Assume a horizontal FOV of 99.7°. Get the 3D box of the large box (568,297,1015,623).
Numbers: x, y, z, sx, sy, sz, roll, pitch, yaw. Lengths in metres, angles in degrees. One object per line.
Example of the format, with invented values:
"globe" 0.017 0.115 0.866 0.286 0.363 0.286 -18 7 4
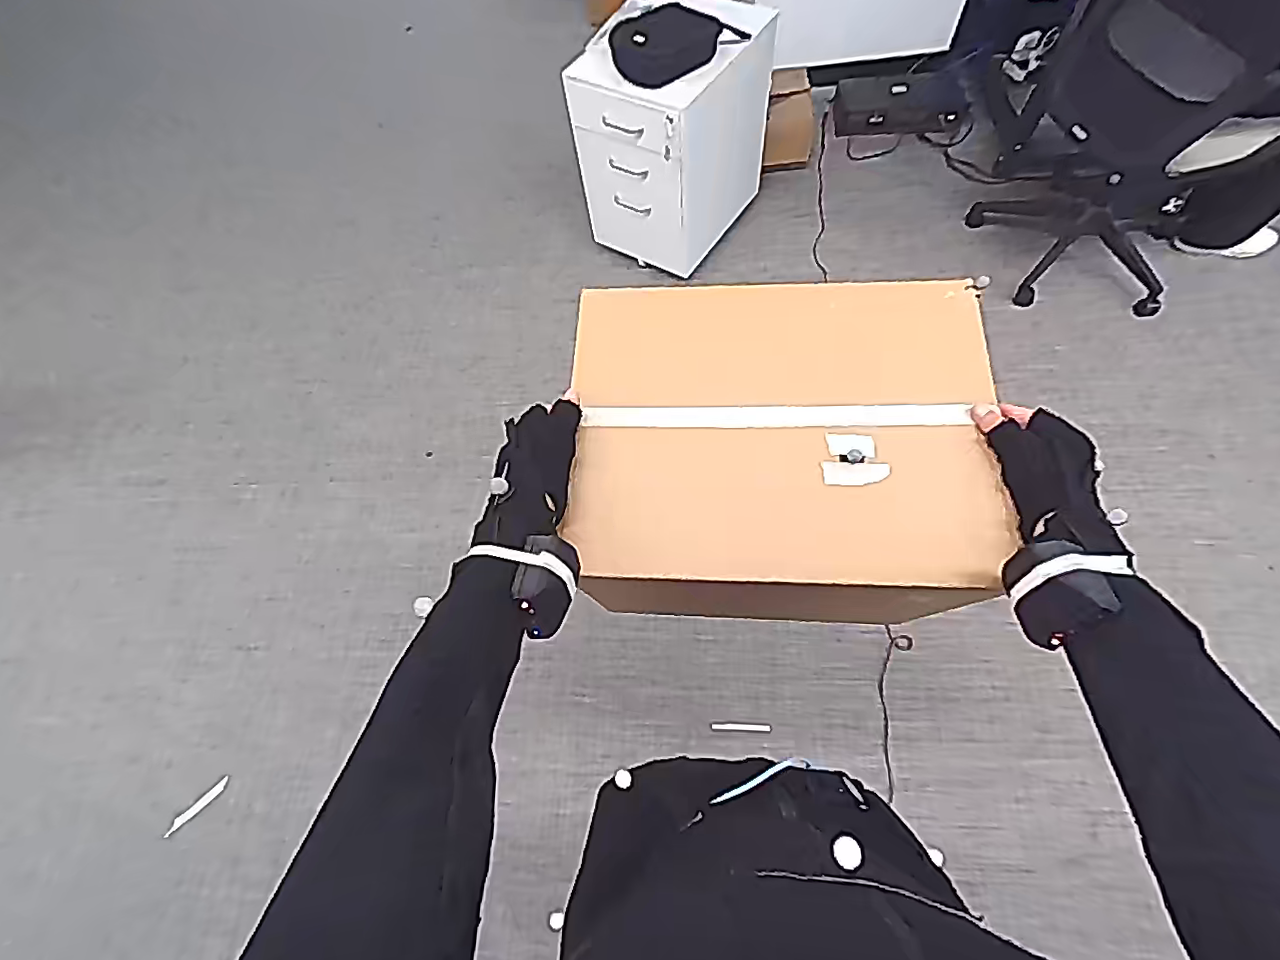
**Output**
"large box" 0.144 0.003 0.674 0.408 0.320 0.320 0 70 6
